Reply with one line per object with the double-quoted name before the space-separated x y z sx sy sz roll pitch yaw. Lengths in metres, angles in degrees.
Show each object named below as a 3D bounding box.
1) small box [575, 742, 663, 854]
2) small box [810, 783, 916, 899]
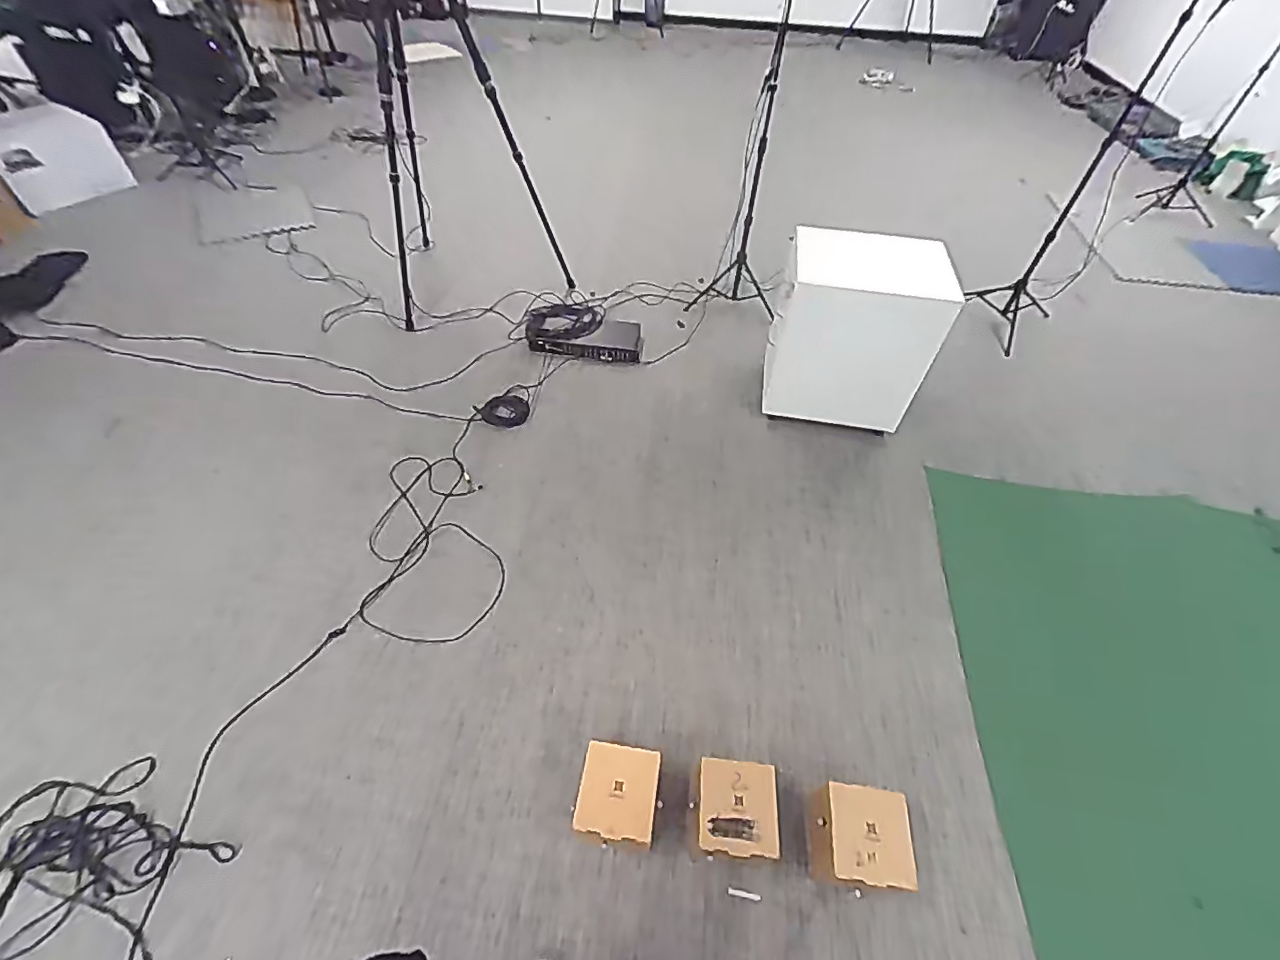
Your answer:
"small box" -0.045 0.724 1.228 0.168 0.176 0.179 8 50 5
"small box" 0.478 0.796 1.190 0.168 0.176 0.179 8 50 5
